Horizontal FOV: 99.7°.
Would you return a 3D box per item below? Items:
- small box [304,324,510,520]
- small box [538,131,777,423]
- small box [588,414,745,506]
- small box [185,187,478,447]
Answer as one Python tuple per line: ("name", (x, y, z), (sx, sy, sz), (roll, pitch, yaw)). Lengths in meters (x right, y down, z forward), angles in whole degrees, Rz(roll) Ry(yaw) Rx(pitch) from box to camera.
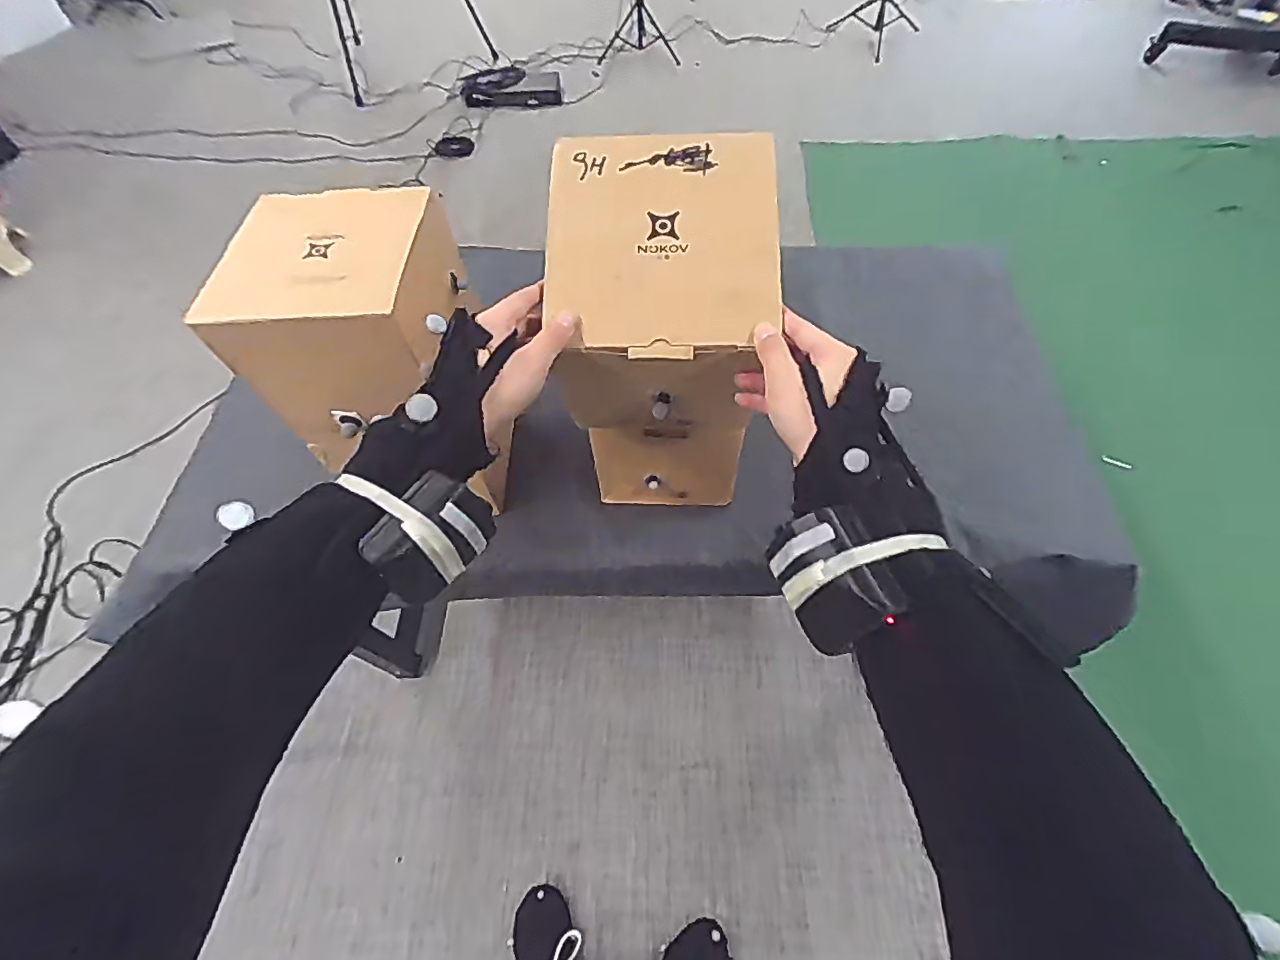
("small box", (-0.262, -0.066, 0.661), (0.168, 0.176, 0.179), (-2, 59, 1))
("small box", (0.017, -0.153, 0.458), (0.168, 0.176, 0.179), (0, 77, 3))
("small box", (0.031, -0.086, 0.666), (0.168, 0.176, 0.179), (1, 59, 2))
("small box", (-0.267, -0.152, 0.523), (0.168, 0.176, 0.179), (-3, 59, 1))
